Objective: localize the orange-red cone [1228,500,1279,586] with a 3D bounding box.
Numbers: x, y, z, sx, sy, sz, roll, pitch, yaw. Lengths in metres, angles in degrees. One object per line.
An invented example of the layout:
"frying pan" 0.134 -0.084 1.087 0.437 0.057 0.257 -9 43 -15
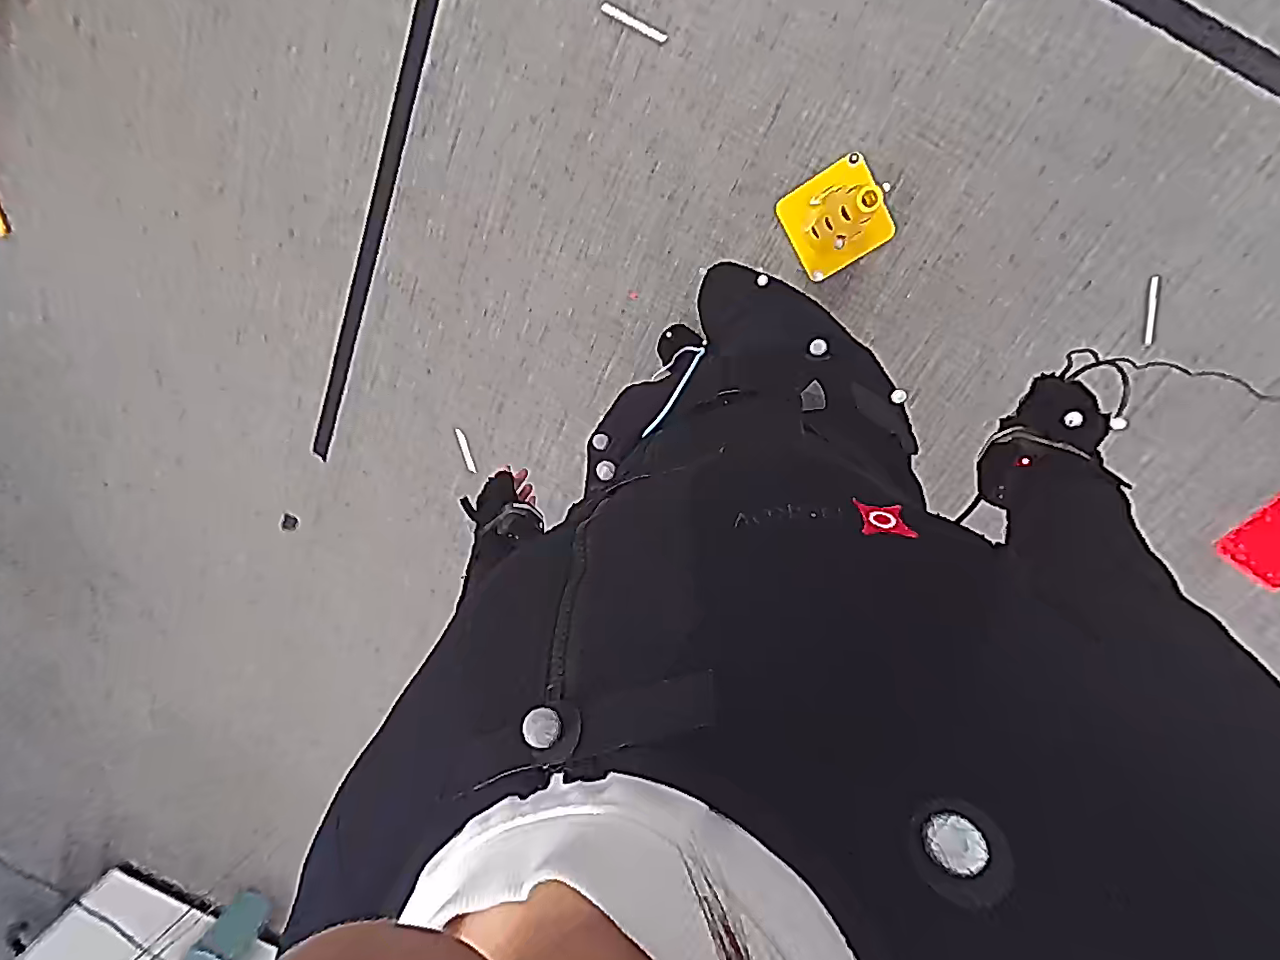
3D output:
"orange-red cone" 1.485 0.191 1.098 0.199 0.360 0.198 35 111 -2
